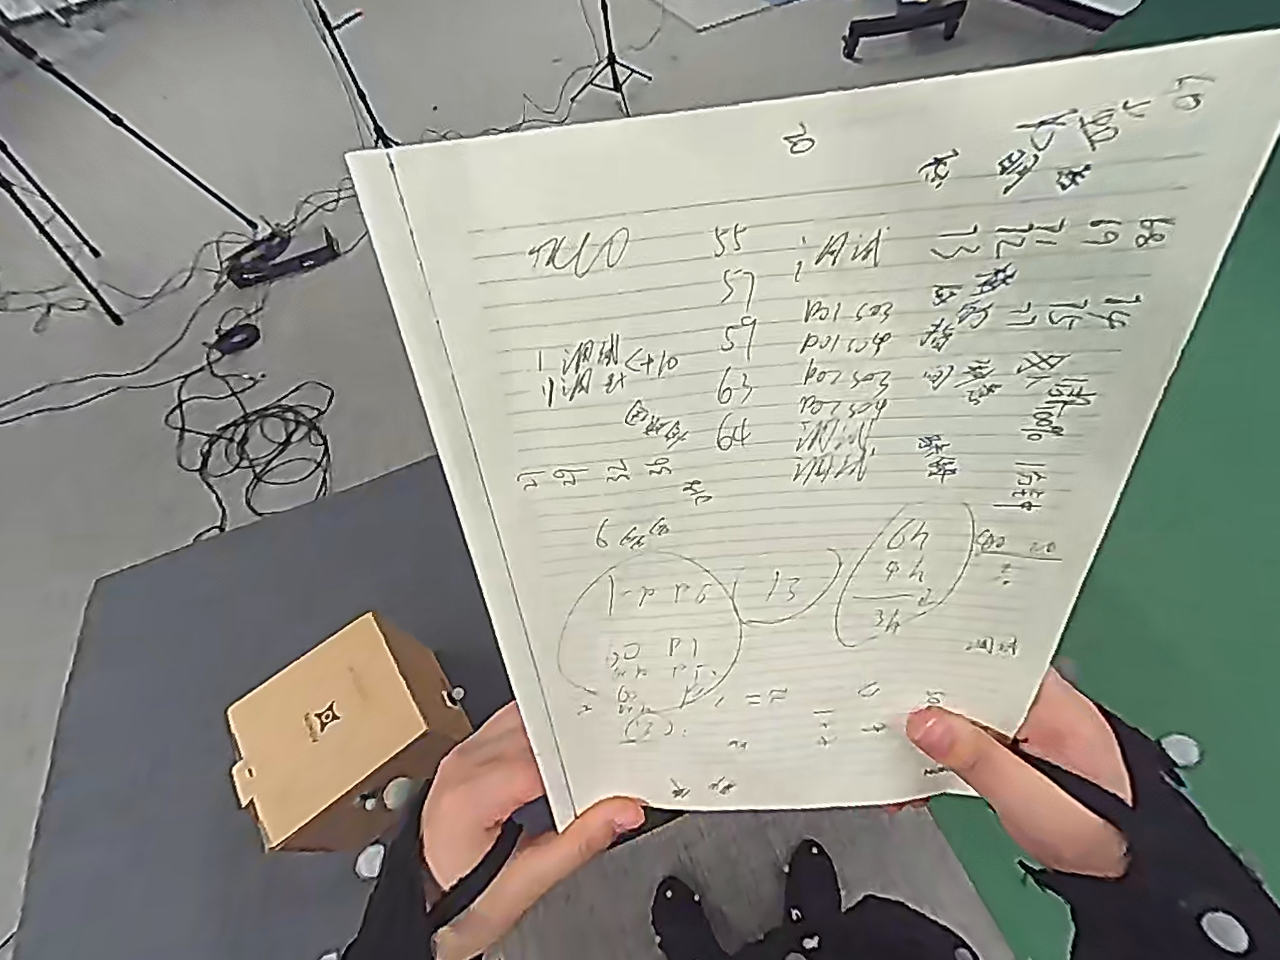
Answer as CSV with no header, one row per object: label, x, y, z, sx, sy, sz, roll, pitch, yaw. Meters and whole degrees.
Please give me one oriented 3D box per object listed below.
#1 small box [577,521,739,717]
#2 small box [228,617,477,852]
small box,0.022,0.175,0.666,0.168,0.176,0.179,-10,56,3
small box,-0.327,0.302,0.641,0.179,0.176,0.168,-36,60,-16
